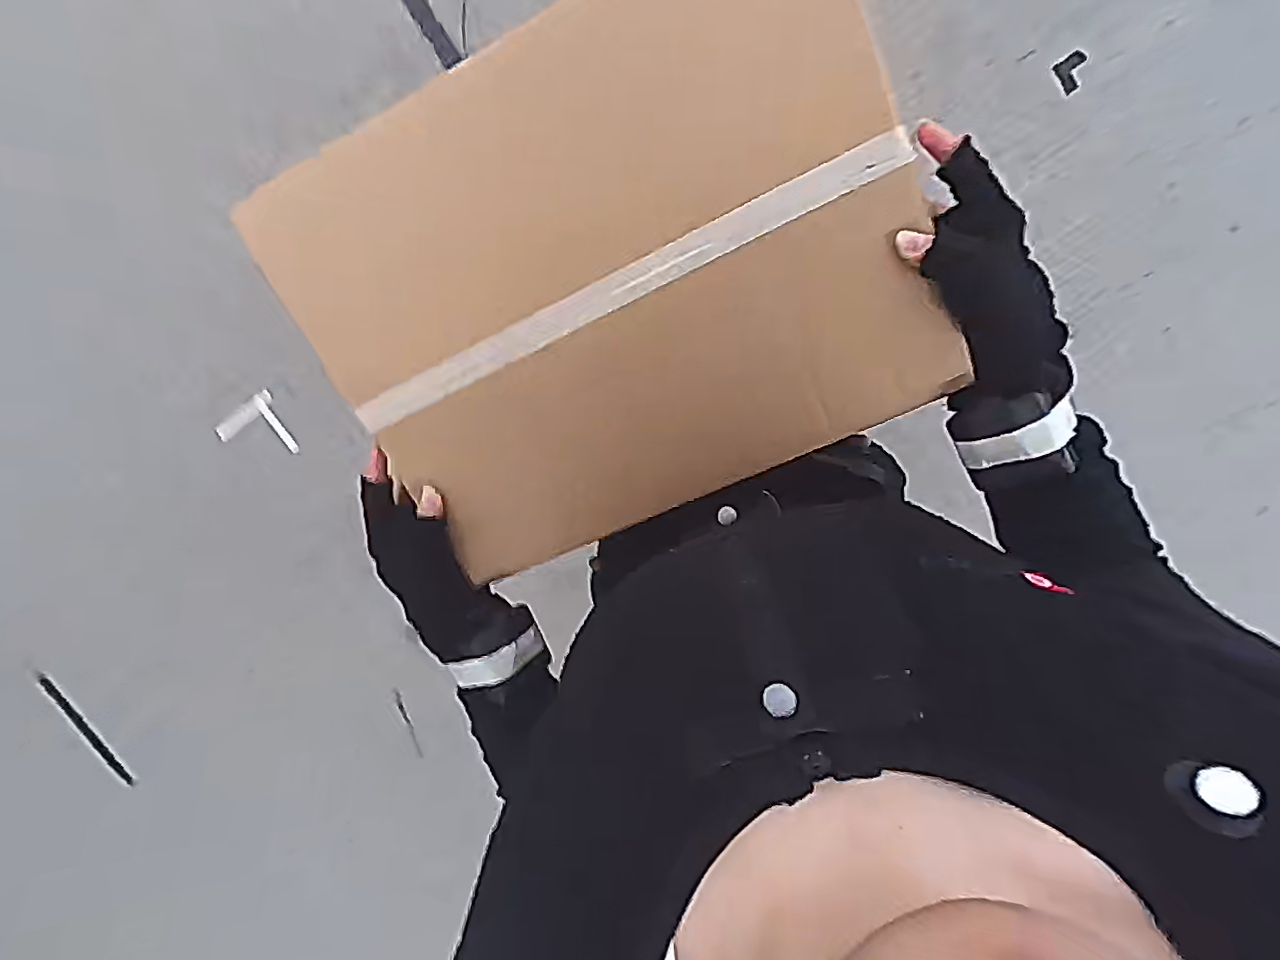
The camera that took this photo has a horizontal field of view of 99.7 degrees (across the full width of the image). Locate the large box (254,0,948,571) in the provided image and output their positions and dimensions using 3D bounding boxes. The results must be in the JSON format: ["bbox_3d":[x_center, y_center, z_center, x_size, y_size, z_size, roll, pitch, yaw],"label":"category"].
[{"bbox_3d":[-0.019,-0.178,0.512,0.408,0.320,0.320,-23,107,11],"label":"large box"}]
